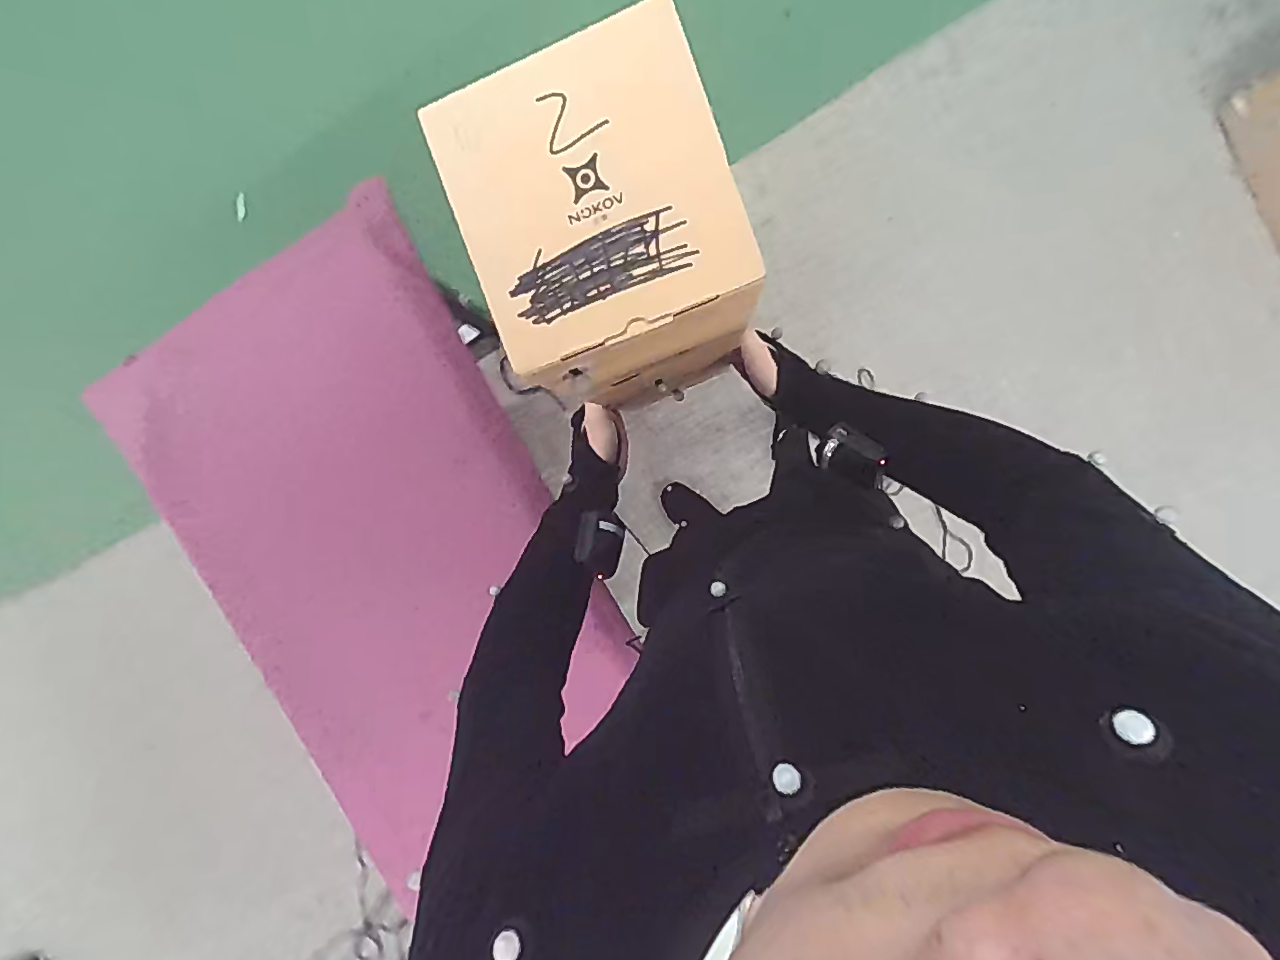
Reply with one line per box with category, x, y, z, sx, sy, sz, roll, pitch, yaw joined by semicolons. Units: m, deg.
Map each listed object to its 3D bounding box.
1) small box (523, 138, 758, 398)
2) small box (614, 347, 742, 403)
small box;0.006;-0.196;0.559;0.168;0.176;0.179;-22;94;7
small box;0.024;-0.212;0.719;0.168;0.176;0.179;-21;93;8
